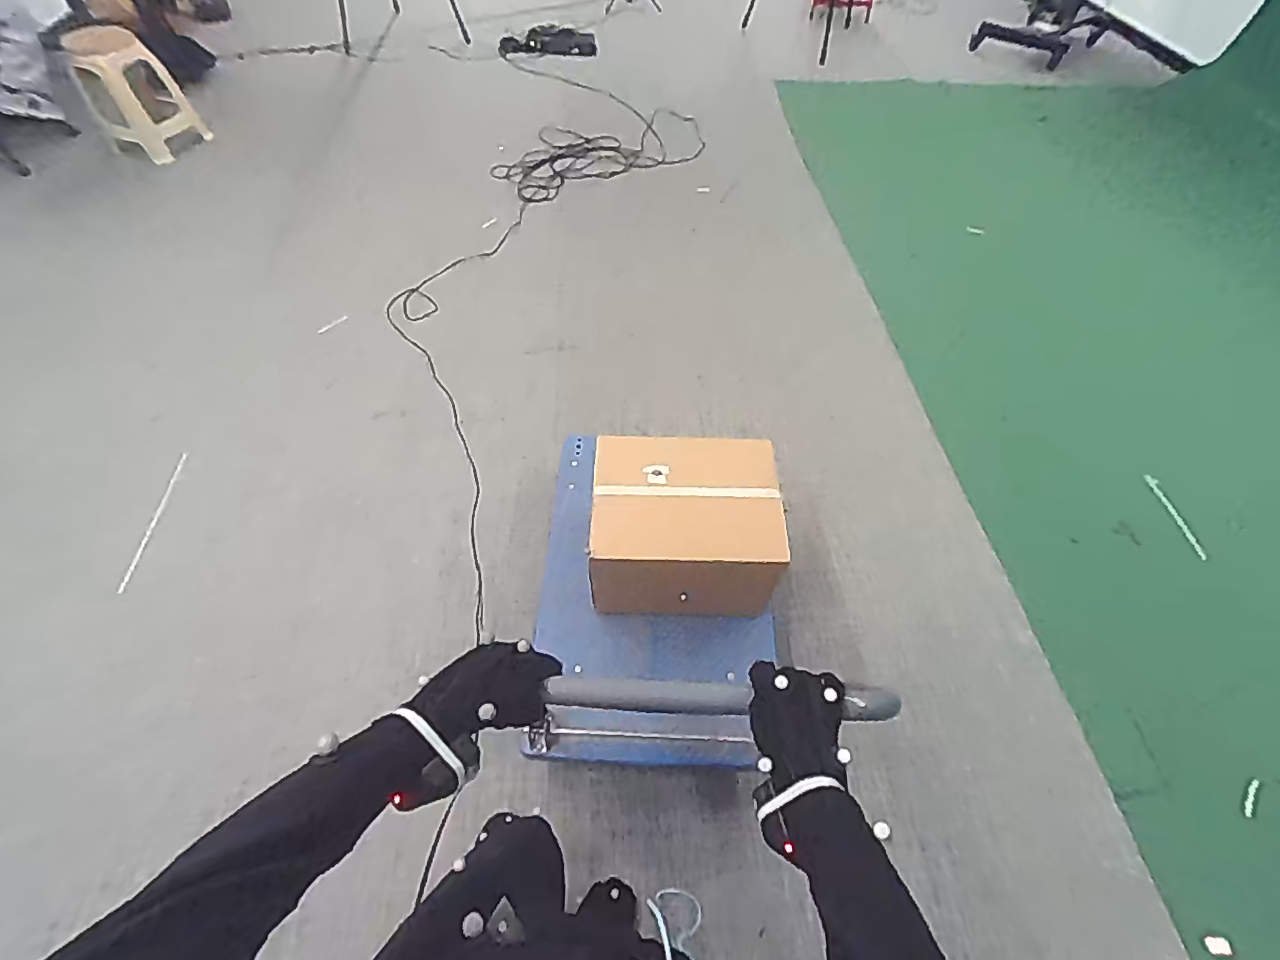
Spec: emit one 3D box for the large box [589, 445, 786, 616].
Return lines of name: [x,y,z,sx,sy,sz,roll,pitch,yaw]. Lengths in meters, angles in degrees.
large box: [0.098,0.129,1.292,0.408,0.320,0.320,1,55,0]
